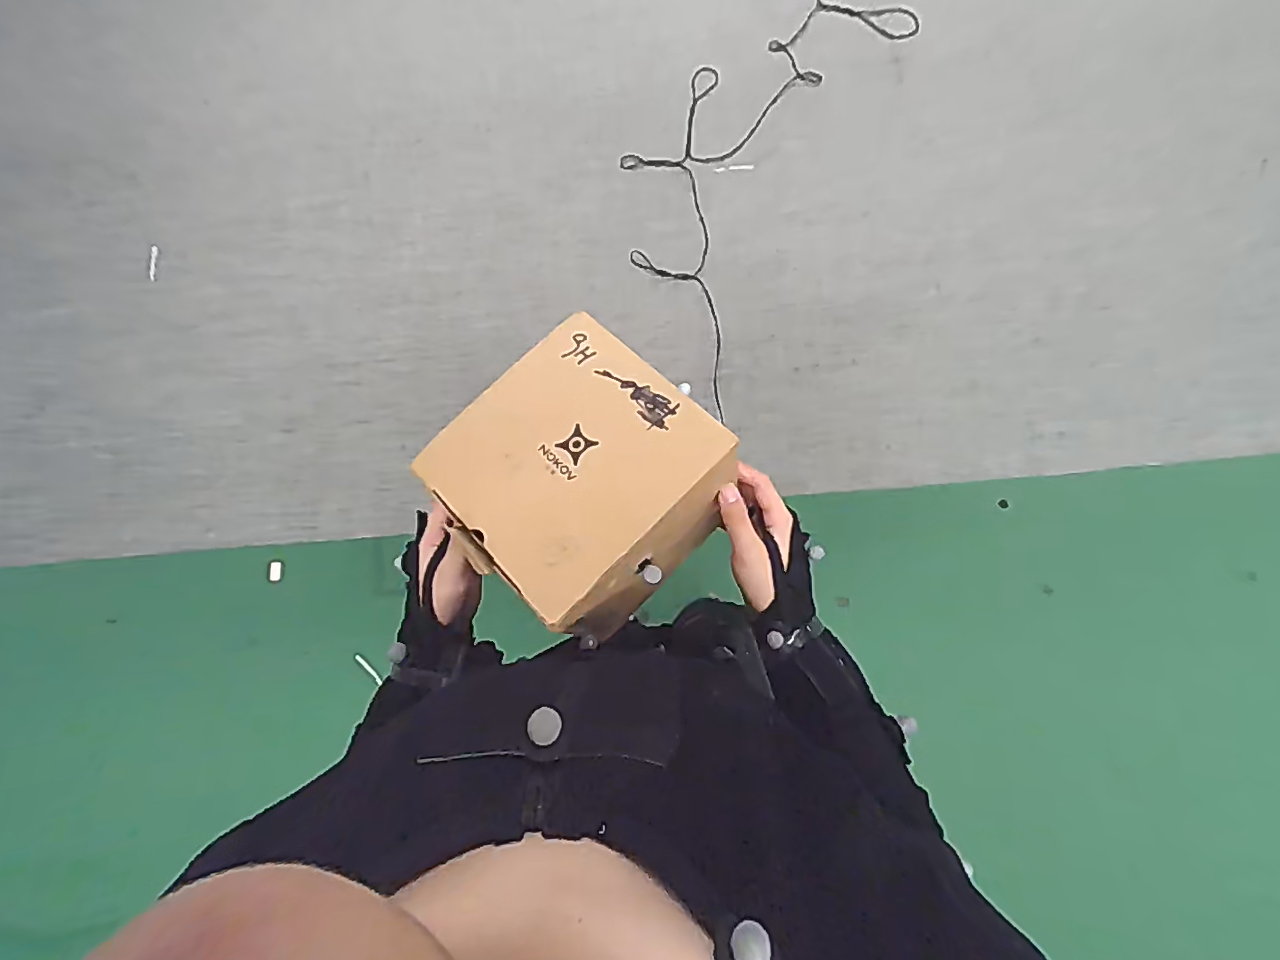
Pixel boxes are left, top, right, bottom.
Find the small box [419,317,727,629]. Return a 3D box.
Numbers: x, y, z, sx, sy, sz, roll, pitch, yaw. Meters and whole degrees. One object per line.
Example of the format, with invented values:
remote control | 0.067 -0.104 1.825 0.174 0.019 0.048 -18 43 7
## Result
small box | -0.038 0.009 0.460 0.179 0.176 0.168 -45 70 -6
